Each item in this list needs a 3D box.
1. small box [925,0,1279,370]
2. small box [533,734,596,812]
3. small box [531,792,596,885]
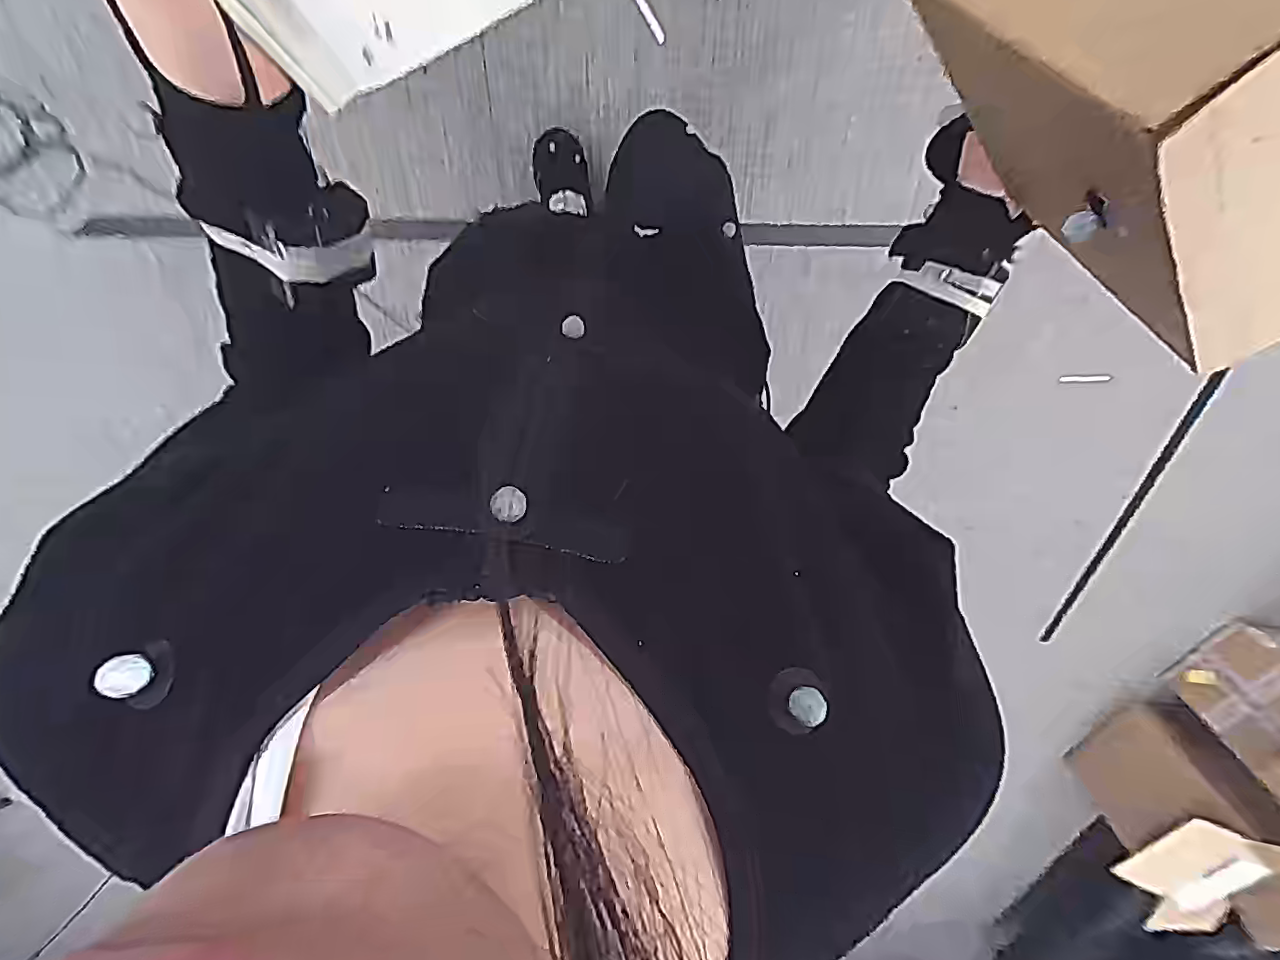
[{"bbox_3d":[0.243,-0.181,0.201,0.179,0.176,0.168,21,135,-39],"label":"small box"},{"bbox_3d":[-0.221,0.884,1.621,0.179,0.176,0.168,0,126,-6],"label":"small box"},{"bbox_3d":[-0.209,0.989,1.494,0.168,0.176,0.179,2,125,-7],"label":"small box"}]
